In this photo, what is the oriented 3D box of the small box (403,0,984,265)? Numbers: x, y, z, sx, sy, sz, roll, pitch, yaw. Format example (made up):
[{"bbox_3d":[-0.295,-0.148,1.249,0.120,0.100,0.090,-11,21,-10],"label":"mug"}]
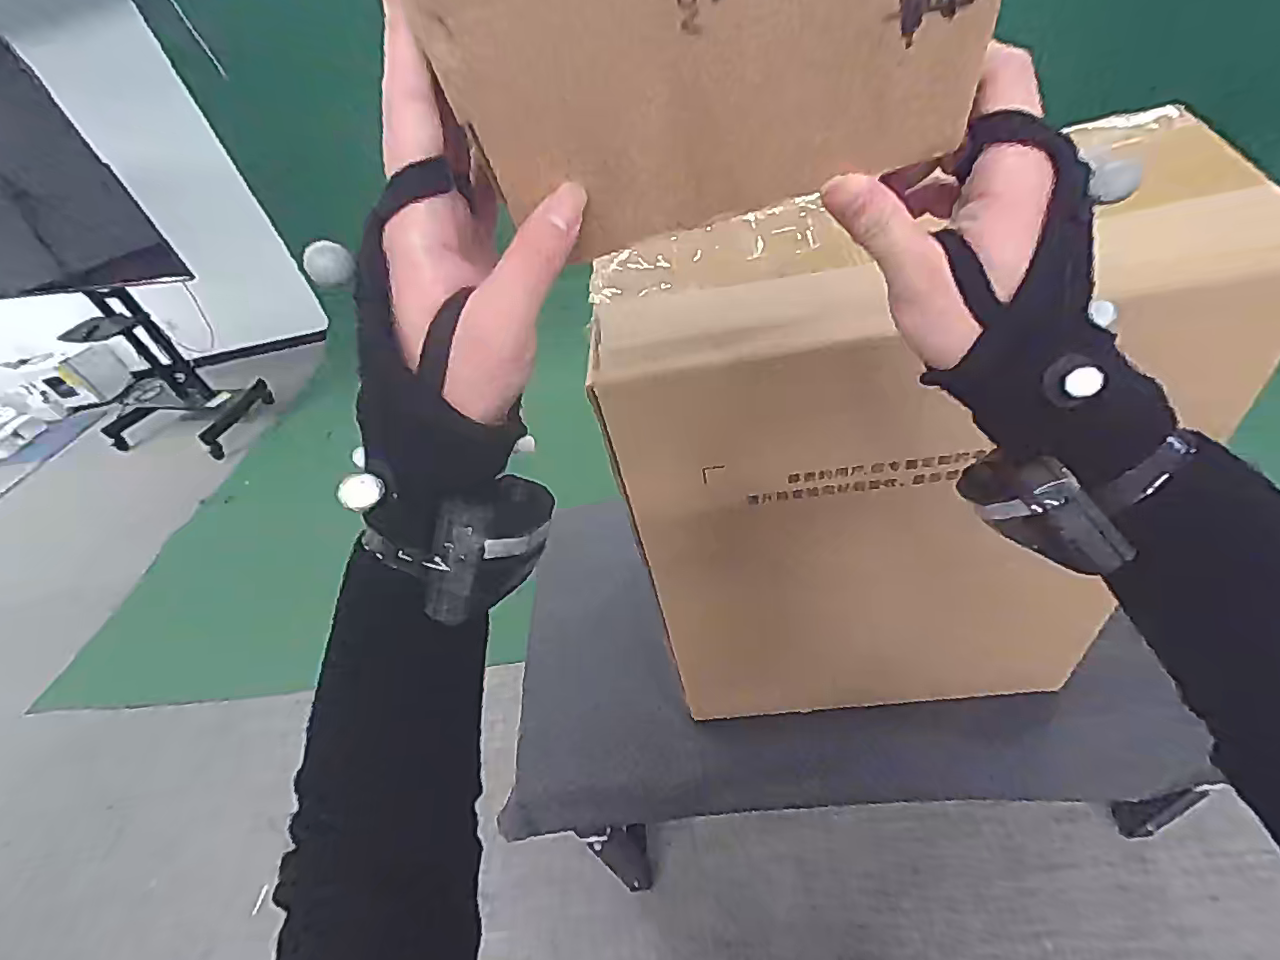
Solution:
[{"bbox_3d":[0.008,-0.216,0.199,0.179,0.168,0.176,-13,55,6],"label":"small box"}]
